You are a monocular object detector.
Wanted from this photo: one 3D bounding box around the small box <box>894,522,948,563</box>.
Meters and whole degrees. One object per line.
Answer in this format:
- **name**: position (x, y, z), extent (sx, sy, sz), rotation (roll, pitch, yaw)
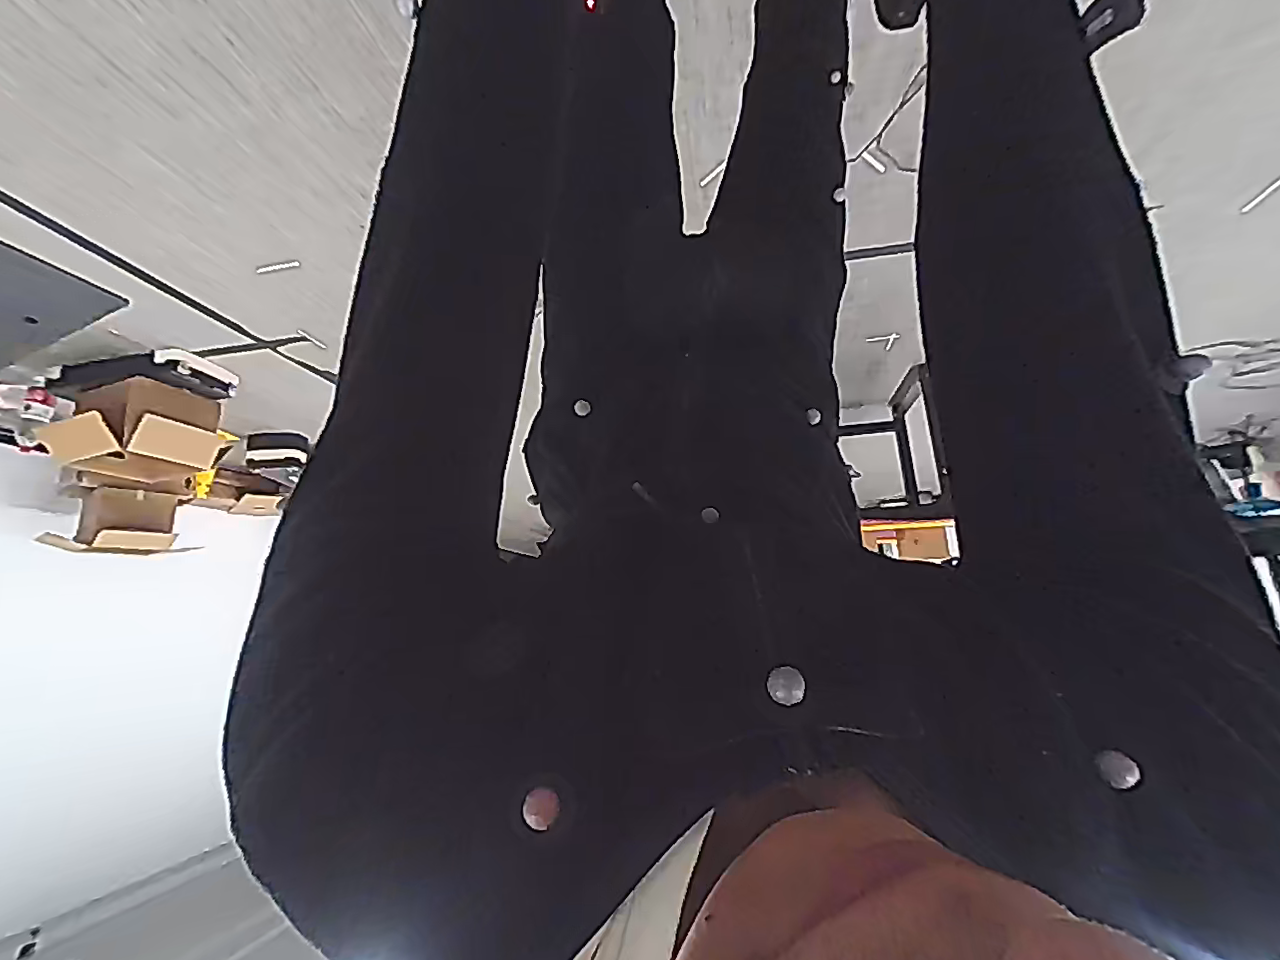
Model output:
- **small box**: position (1.286, 0.289, 2.489), extent (0.179, 0.176, 0.168), rotation (-3, 166, 11)
